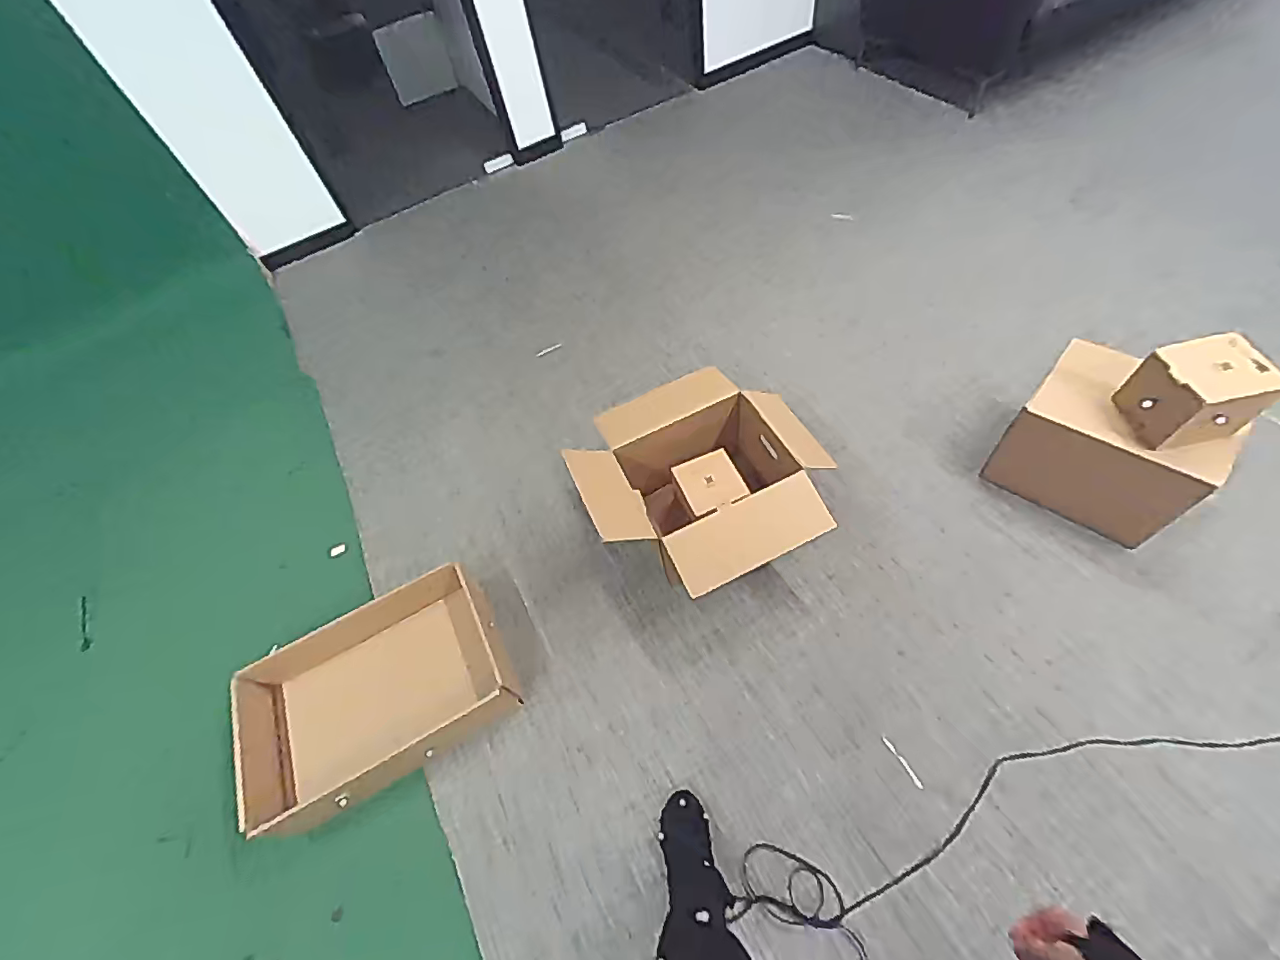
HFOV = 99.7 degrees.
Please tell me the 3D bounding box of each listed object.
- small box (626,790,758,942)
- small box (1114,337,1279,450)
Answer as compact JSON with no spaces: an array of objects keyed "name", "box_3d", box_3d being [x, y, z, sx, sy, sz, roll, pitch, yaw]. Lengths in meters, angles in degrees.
[{"name":"small box","box_3d":[0.112,0.771,1.099,0.179,0.168,0.176,-36,88,-40]},{"name":"small box","box_3d":[1.226,-0.189,1.215,0.179,0.176,0.168,-12,56,3]}]
